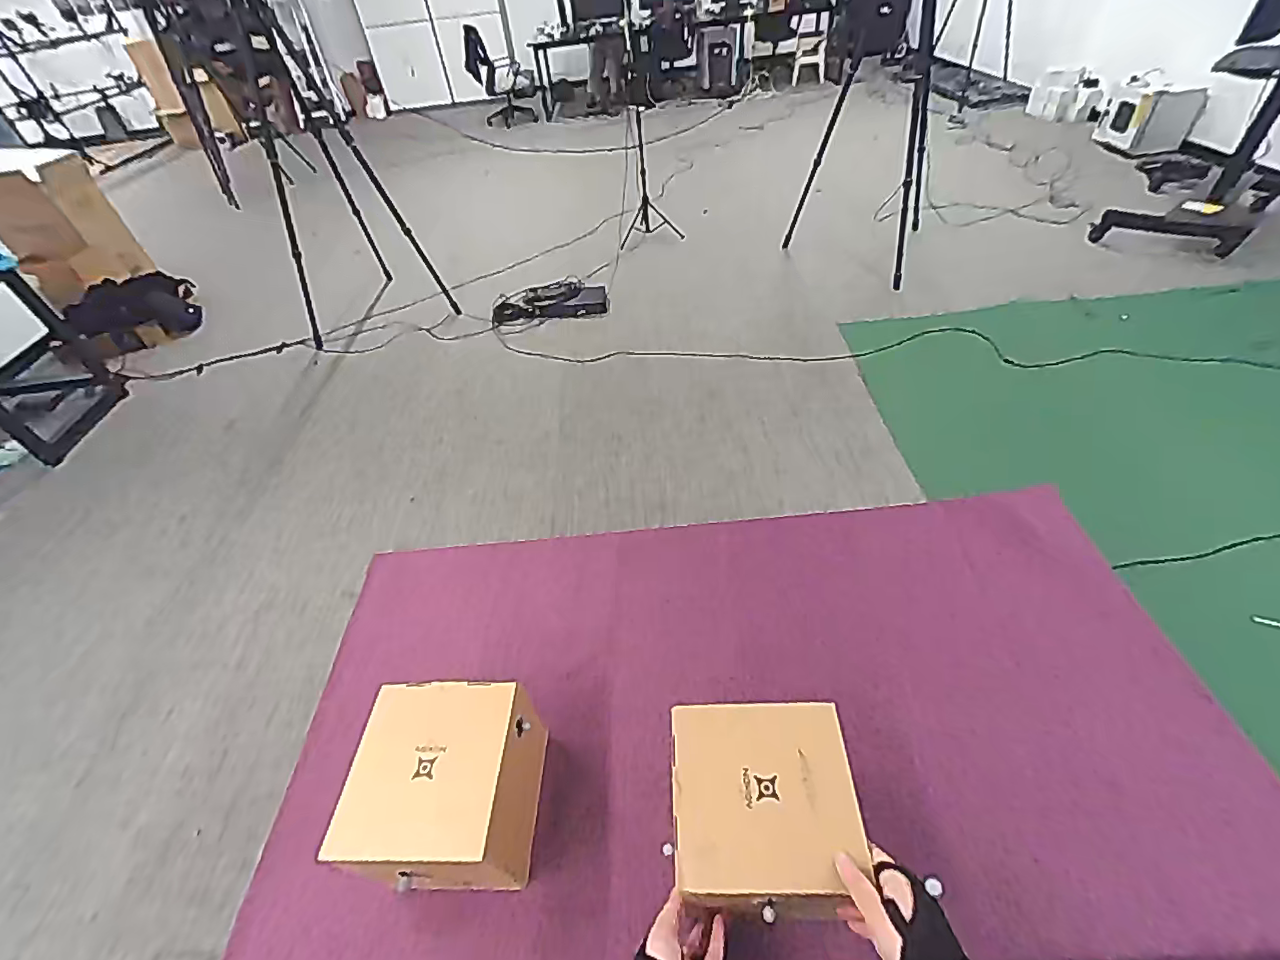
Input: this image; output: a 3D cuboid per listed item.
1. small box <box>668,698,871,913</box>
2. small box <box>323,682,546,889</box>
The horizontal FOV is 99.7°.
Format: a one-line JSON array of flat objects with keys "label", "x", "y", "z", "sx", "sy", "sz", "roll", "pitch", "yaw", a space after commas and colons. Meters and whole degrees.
[{"label": "small box", "x": 0.125, "y": 0.351, "z": 0.582, "sx": 0.179, "sy": 0.176, "sz": 0.168, "roll": -3, "pitch": 45, "yaw": 5}, {"label": "small box", "x": -0.216, "y": 0.357, "z": 0.630, "sx": 0.168, "sy": 0.176, "sz": 0.179, "roll": -3, "pitch": 44, "yaw": 5}]
